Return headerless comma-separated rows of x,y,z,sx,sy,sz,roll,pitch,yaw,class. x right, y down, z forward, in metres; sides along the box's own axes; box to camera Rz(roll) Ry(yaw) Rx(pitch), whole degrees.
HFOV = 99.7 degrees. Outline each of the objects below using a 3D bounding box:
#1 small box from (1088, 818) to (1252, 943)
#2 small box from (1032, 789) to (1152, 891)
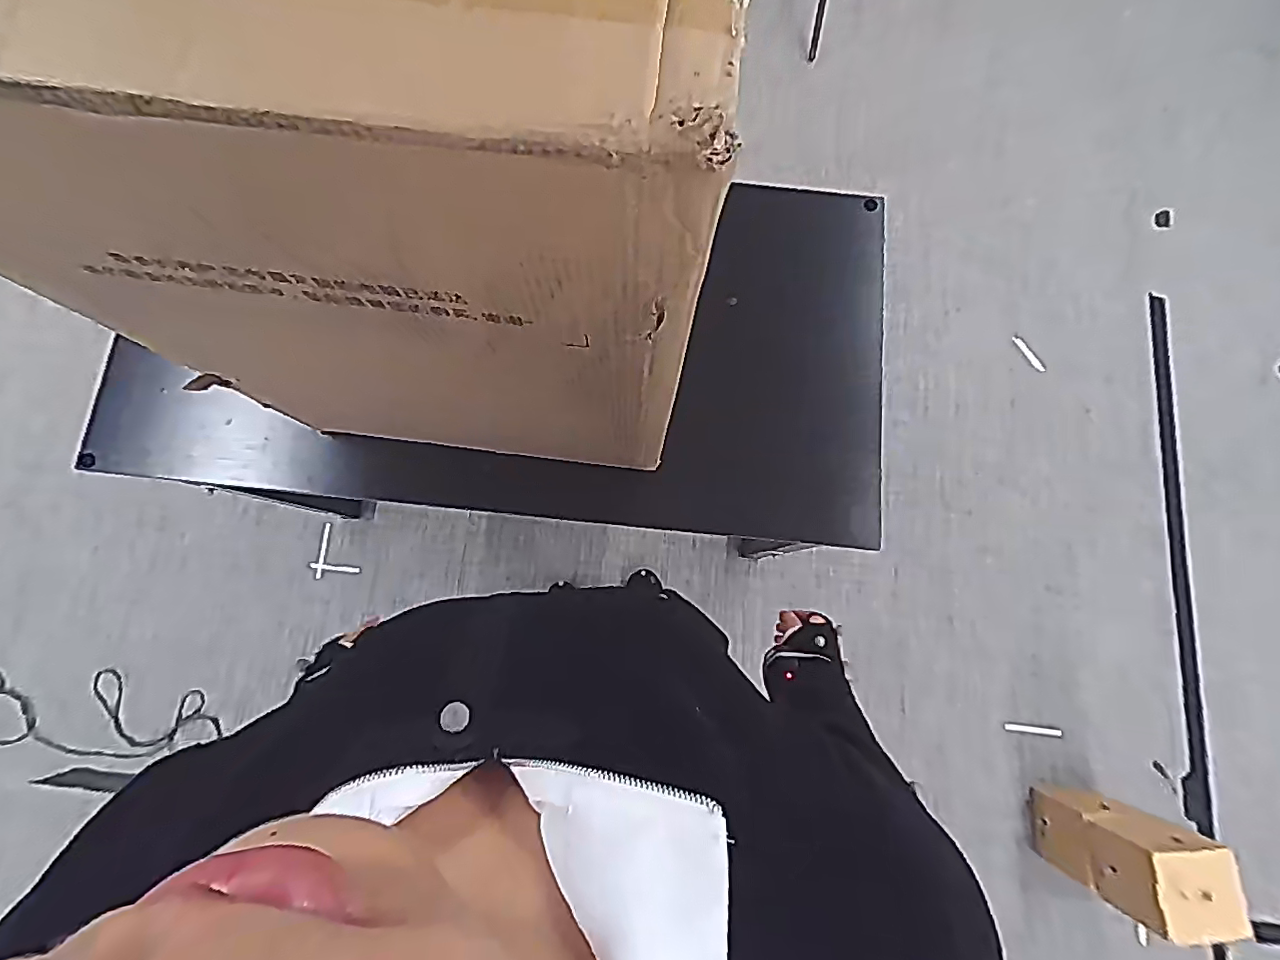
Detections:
1.134,0.855,1.171,0.179,0.176,0.168,-2,78,-2,small box
1.117,0.882,1.334,0.179,0.176,0.168,3,78,0,small box
